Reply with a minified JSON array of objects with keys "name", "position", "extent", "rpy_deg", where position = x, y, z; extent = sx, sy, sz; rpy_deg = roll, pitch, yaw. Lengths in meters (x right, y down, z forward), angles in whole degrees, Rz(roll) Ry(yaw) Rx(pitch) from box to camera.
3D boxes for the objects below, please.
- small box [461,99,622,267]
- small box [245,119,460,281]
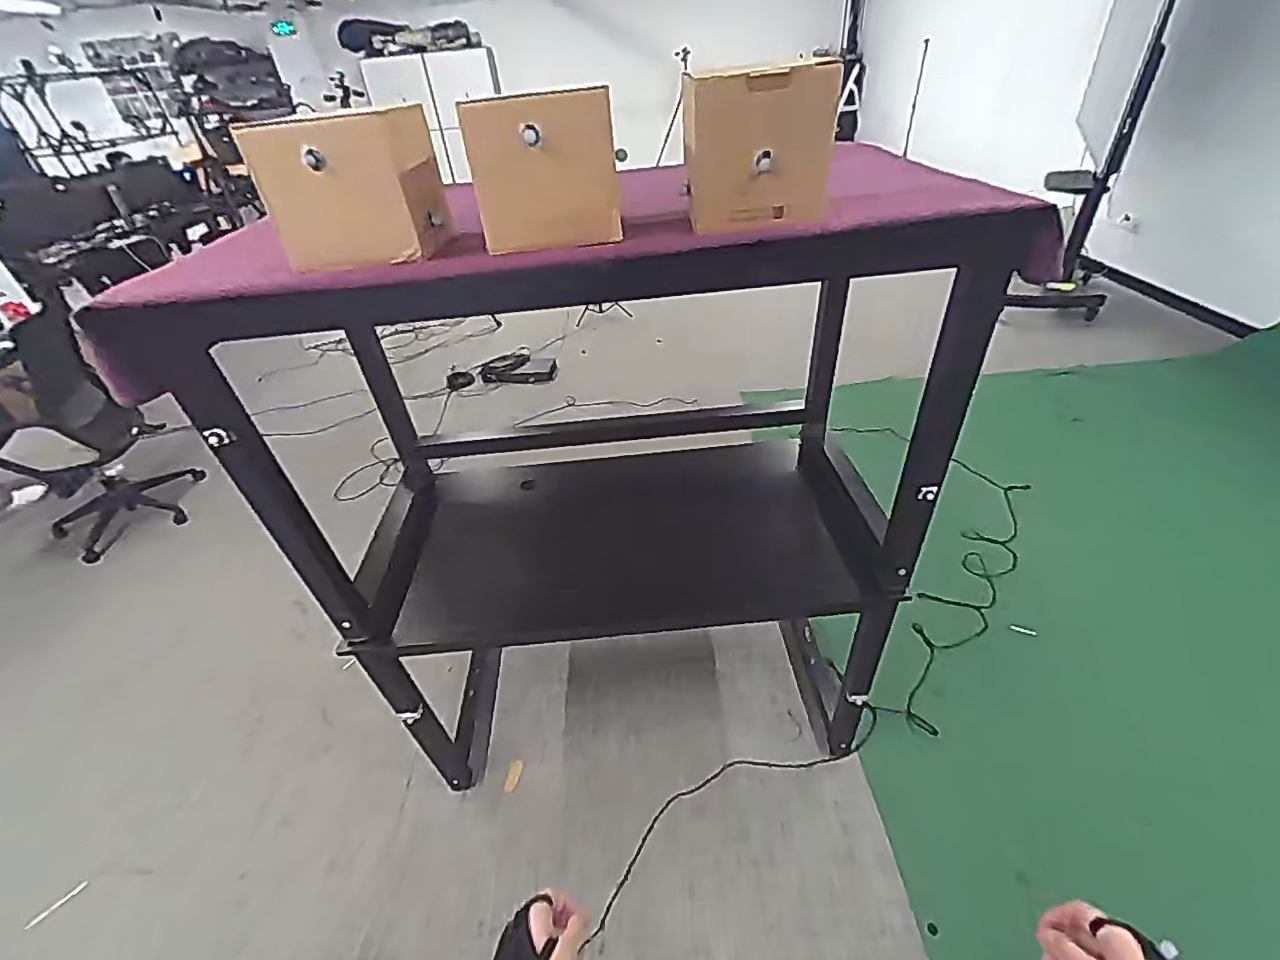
[{"name":"small box","position":[-0.117,-0.402,0.730],"extent":[0.179,0.176,0.168],"rpy_deg":[-7,36,1]},{"name":"small box","position":[-0.369,-0.379,0.734],"extent":[0.179,0.176,0.168],"rpy_deg":[-4,37,2]}]
